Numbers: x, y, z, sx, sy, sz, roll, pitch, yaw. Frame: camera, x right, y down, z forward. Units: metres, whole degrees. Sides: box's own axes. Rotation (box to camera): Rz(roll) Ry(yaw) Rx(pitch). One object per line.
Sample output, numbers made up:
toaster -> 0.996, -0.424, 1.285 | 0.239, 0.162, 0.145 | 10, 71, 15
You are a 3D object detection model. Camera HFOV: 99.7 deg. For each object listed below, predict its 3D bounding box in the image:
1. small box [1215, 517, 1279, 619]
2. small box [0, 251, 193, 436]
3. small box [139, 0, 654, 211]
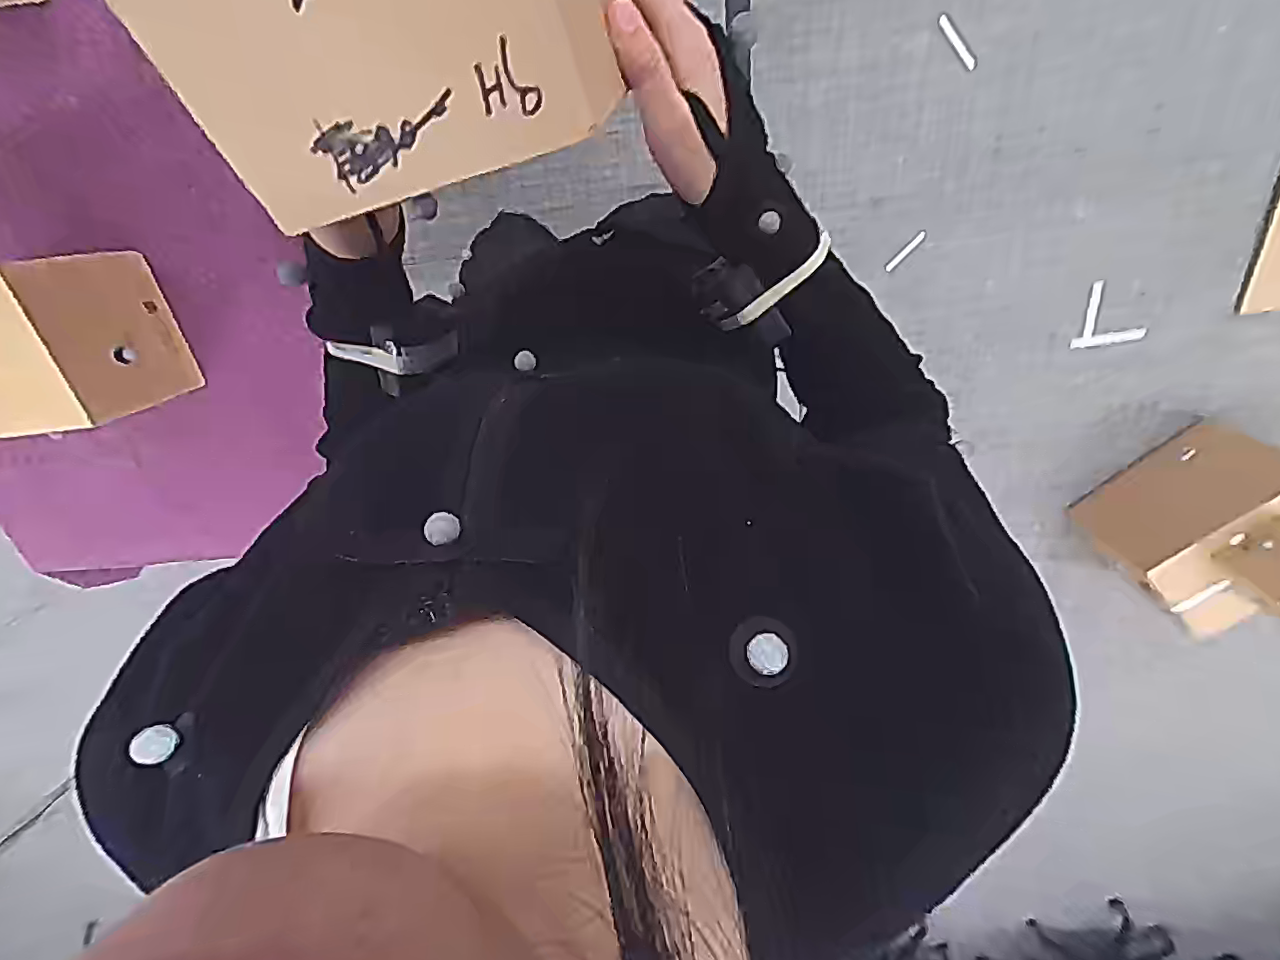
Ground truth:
small box -> 1.463, 0.214, 1.196 | 0.179, 0.176, 0.168 | 39, 112, -15
small box -> -0.669, -0.159, 0.618 | 0.179, 0.176, 0.168 | -6, 117, 6
small box -> -0.100, -0.250, 0.231 | 0.168, 0.176, 0.179 | -5, 134, 18
